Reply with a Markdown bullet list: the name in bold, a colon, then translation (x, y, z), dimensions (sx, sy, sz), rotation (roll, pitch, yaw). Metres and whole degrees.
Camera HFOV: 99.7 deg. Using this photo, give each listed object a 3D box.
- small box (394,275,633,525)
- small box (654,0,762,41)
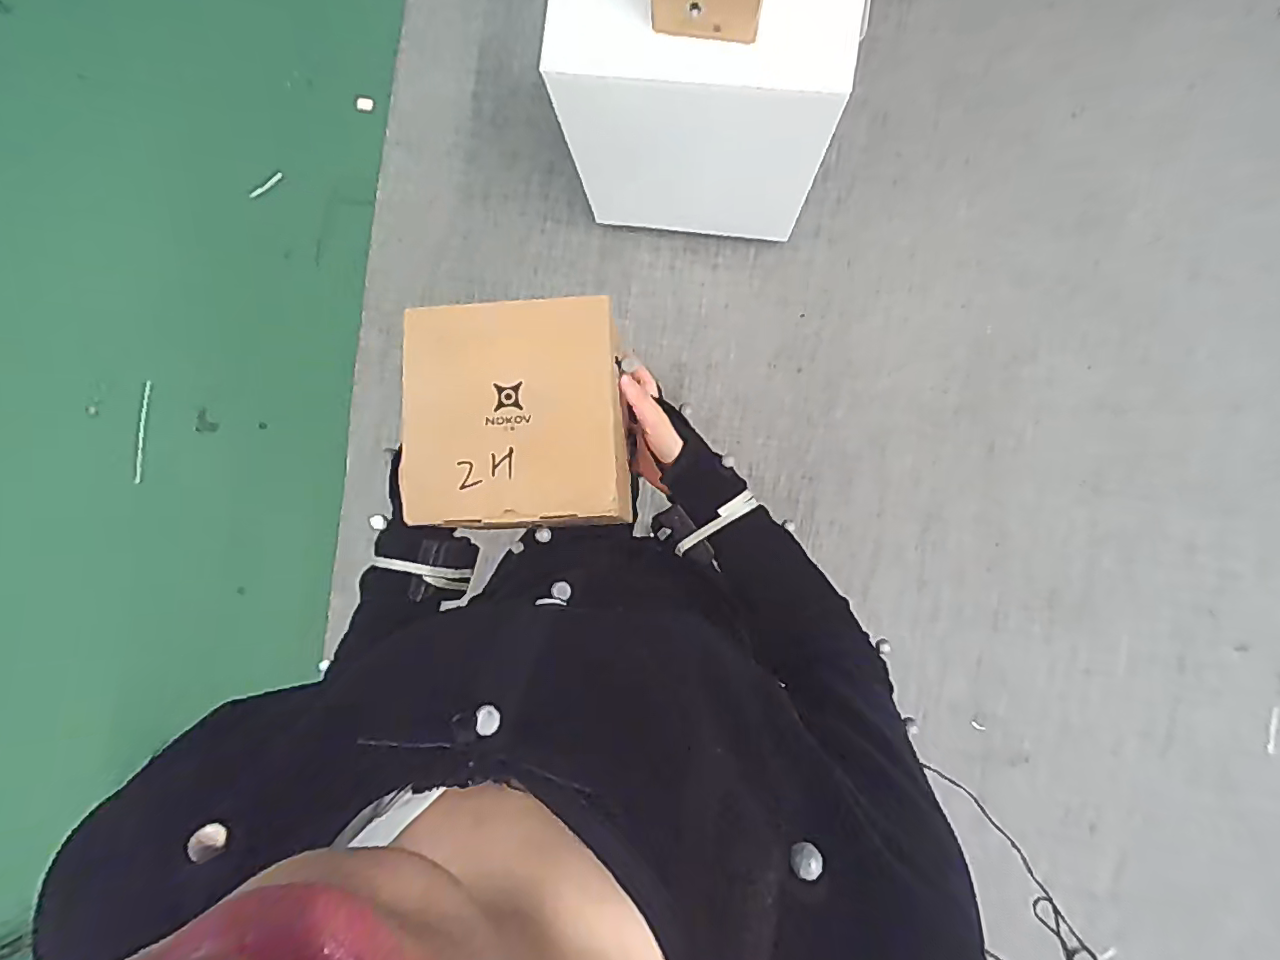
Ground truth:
- **small box**: translation (-0.096, -0.055, 0.480), dimensions (0.168, 0.176, 0.179), rotation (-4, 82, 4)
- **small box**: translation (0.108, -0.789, 0.773), dimensions (0.168, 0.176, 0.179), rotation (10, 91, 5)
